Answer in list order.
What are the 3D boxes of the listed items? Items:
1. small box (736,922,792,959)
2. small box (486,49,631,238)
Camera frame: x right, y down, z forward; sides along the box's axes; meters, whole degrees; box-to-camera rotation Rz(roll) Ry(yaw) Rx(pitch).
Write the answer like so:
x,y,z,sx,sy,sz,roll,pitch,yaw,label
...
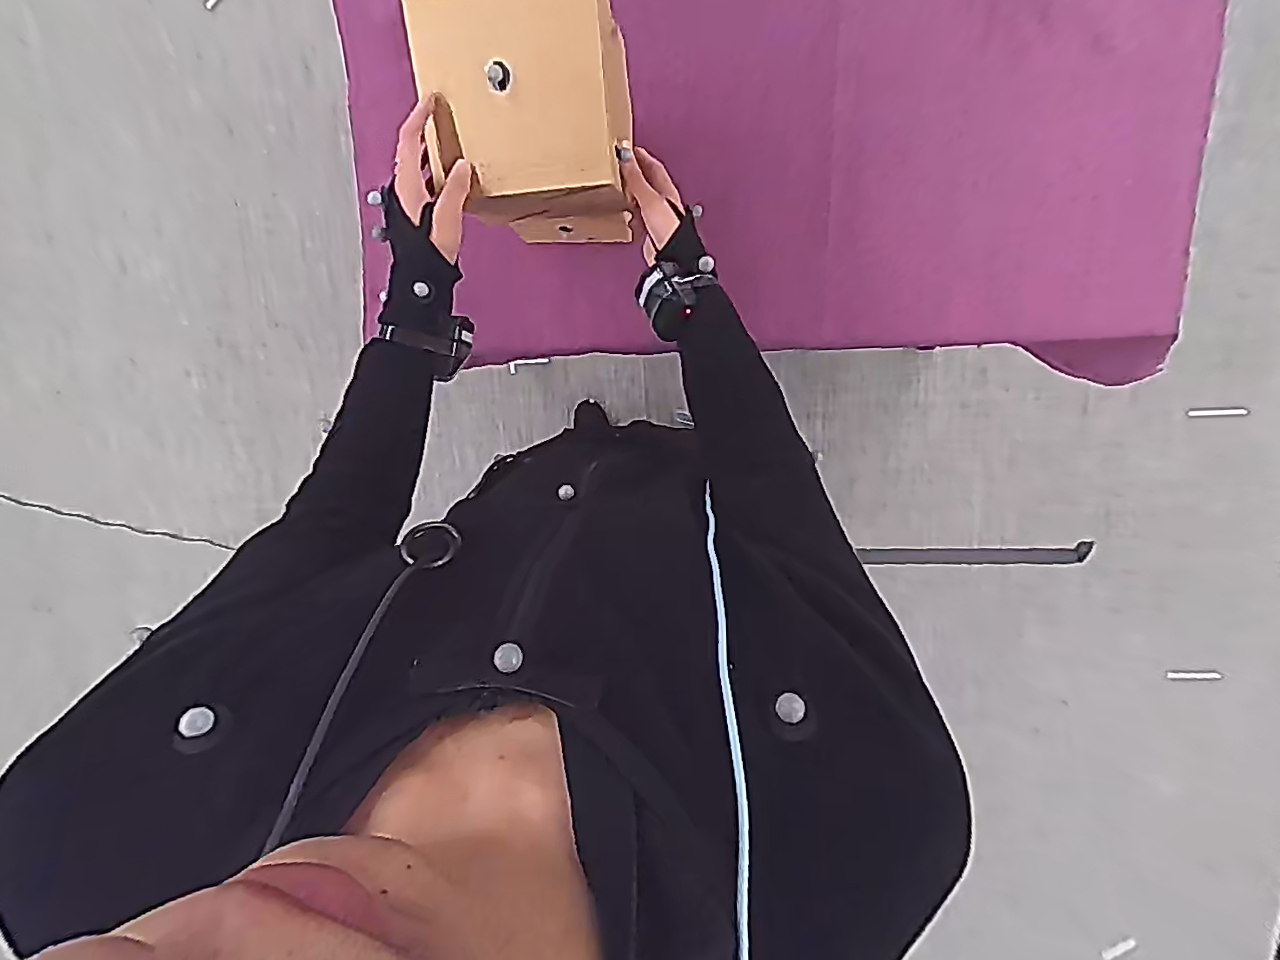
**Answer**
x,y,z,sx,sy,sz,roll,pitch,yaw,label
0.422,1.657,1.846,0.179,0.176,0.168,-3,100,2,small box
-0.098,-0.436,0.729,0.168,0.176,0.179,1,101,2,small box
